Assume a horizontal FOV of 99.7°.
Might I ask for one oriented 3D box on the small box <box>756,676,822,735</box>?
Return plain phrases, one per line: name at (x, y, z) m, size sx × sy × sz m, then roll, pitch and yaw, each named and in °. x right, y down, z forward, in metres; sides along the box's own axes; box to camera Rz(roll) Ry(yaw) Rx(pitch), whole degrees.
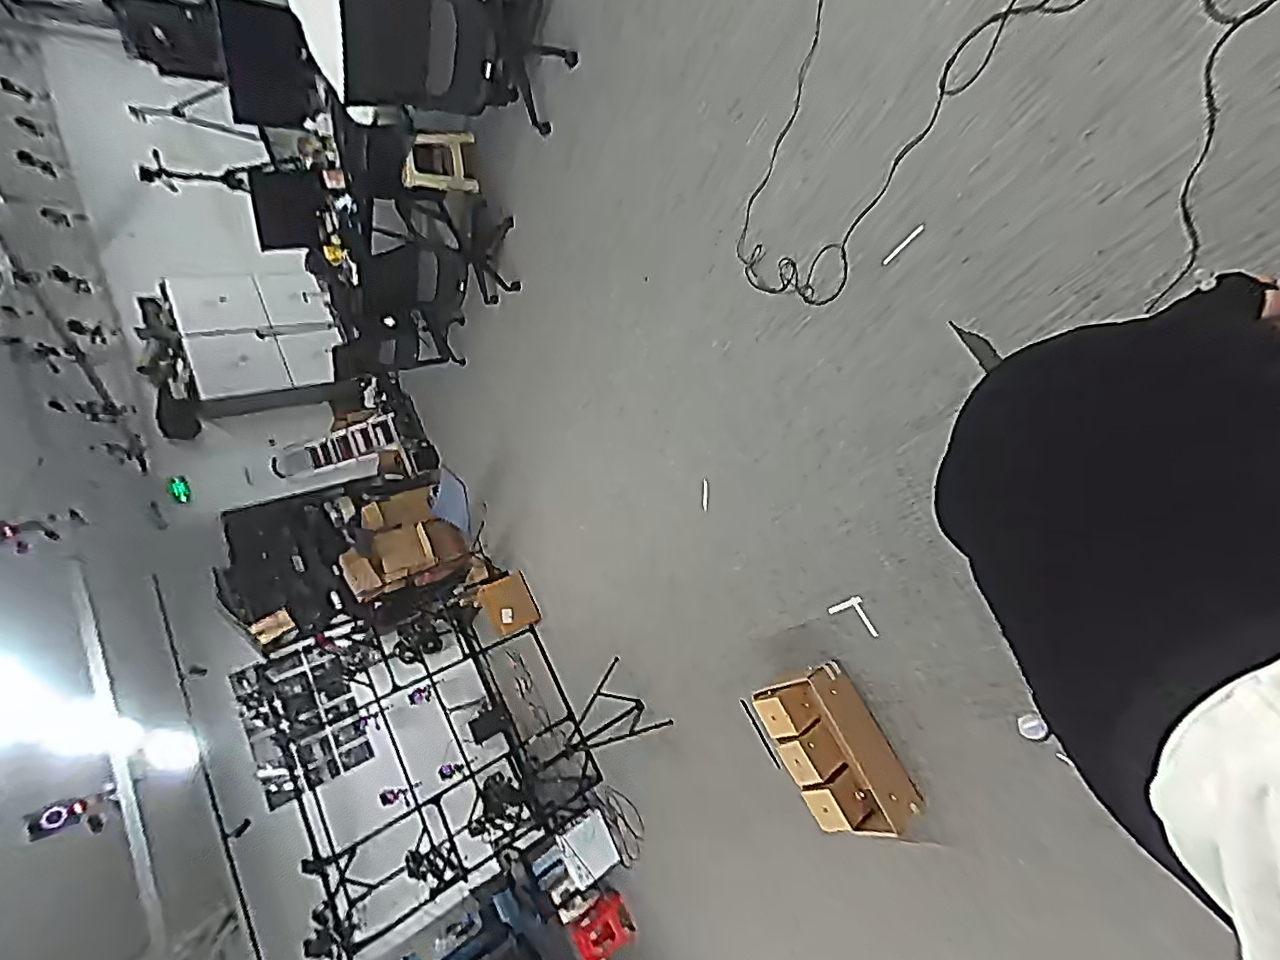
small box at (0.638, 0.963, 2.313) m, size 0.168 × 0.176 × 0.179 m, roll 60°, pitch 142°, yaw 13°
